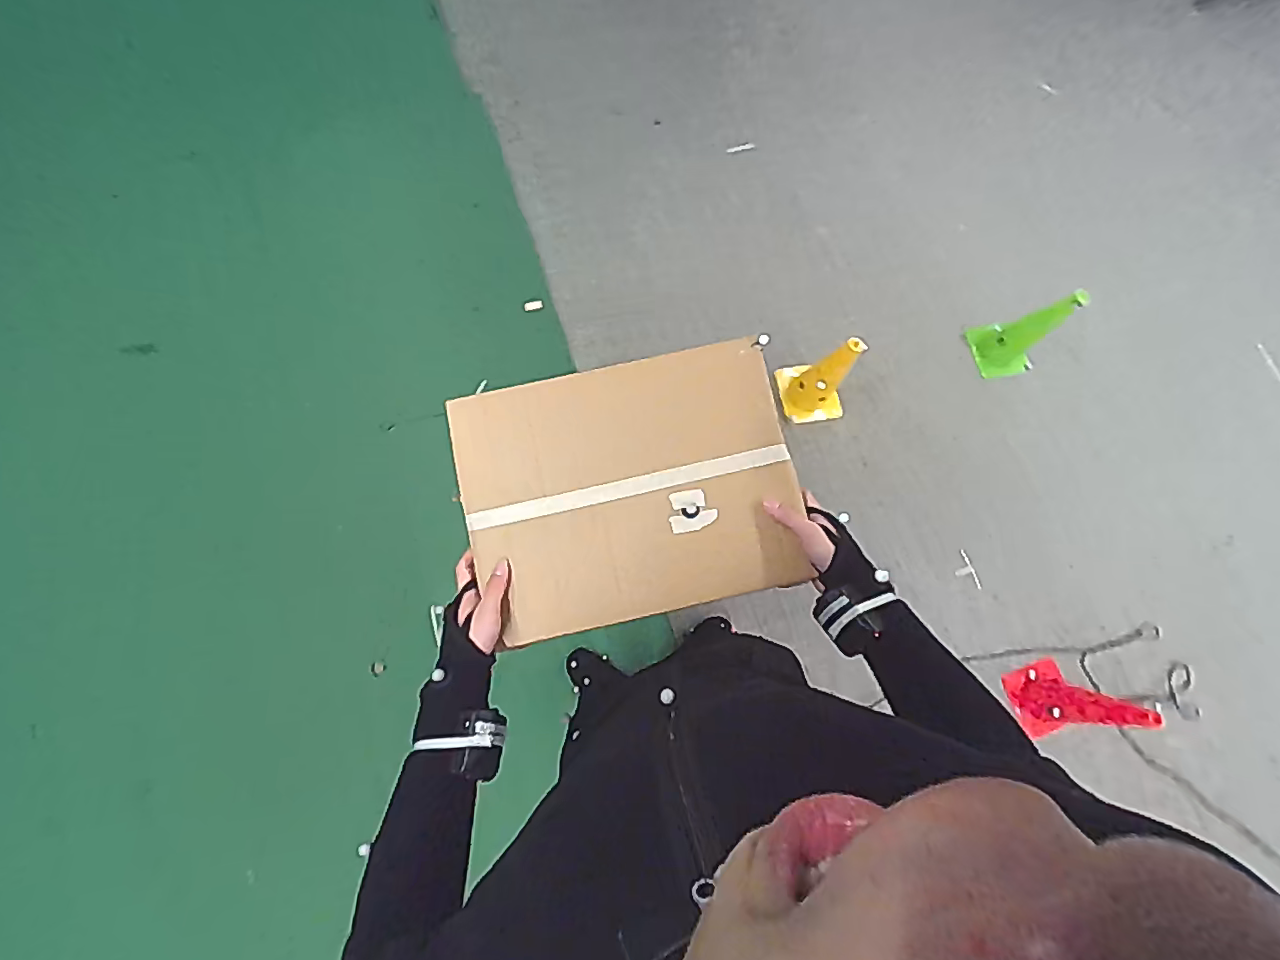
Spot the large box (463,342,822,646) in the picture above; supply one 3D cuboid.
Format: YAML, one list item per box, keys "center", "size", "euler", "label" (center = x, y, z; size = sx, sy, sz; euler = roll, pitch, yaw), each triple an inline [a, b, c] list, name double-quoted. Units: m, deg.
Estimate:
- center: [-0.004, 0.033, 0.820]
  size: [0.408, 0.320, 0.320]
  euler: [-12, 82, -3]
  label: "large box"

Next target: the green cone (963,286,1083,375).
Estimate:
- center: [1.302, -0.527, 1.794]
  size: [0.202, 0.368, 0.200]
  euler: [-13, 77, -7]
  label: "green cone"
